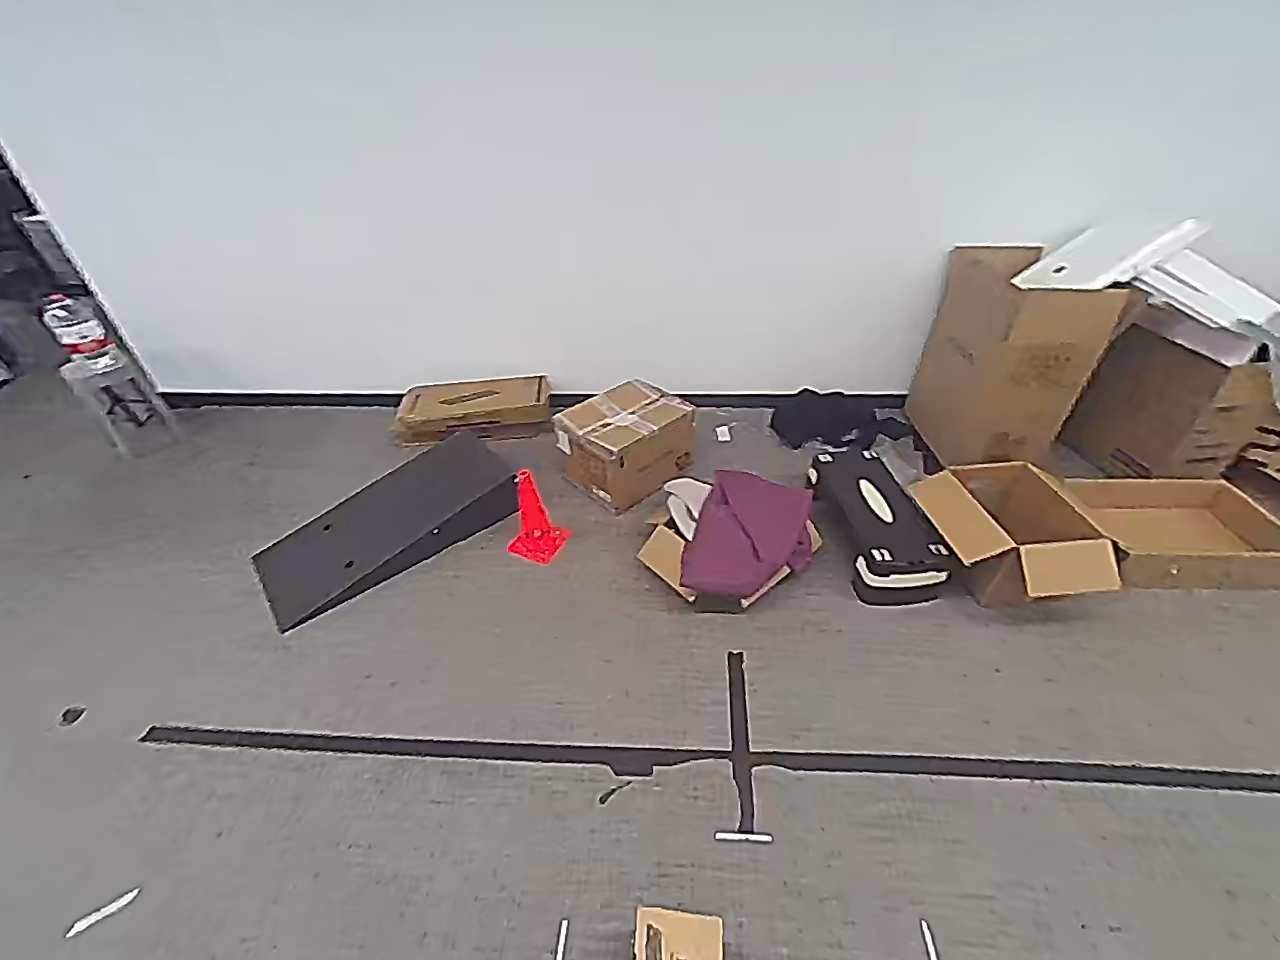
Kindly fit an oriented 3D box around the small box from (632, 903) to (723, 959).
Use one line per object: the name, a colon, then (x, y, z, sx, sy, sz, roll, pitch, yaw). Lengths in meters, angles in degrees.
small box: (0.074, 0.988, 1.086, 0.179, 0.176, 0.168, 4, 39, 7)
